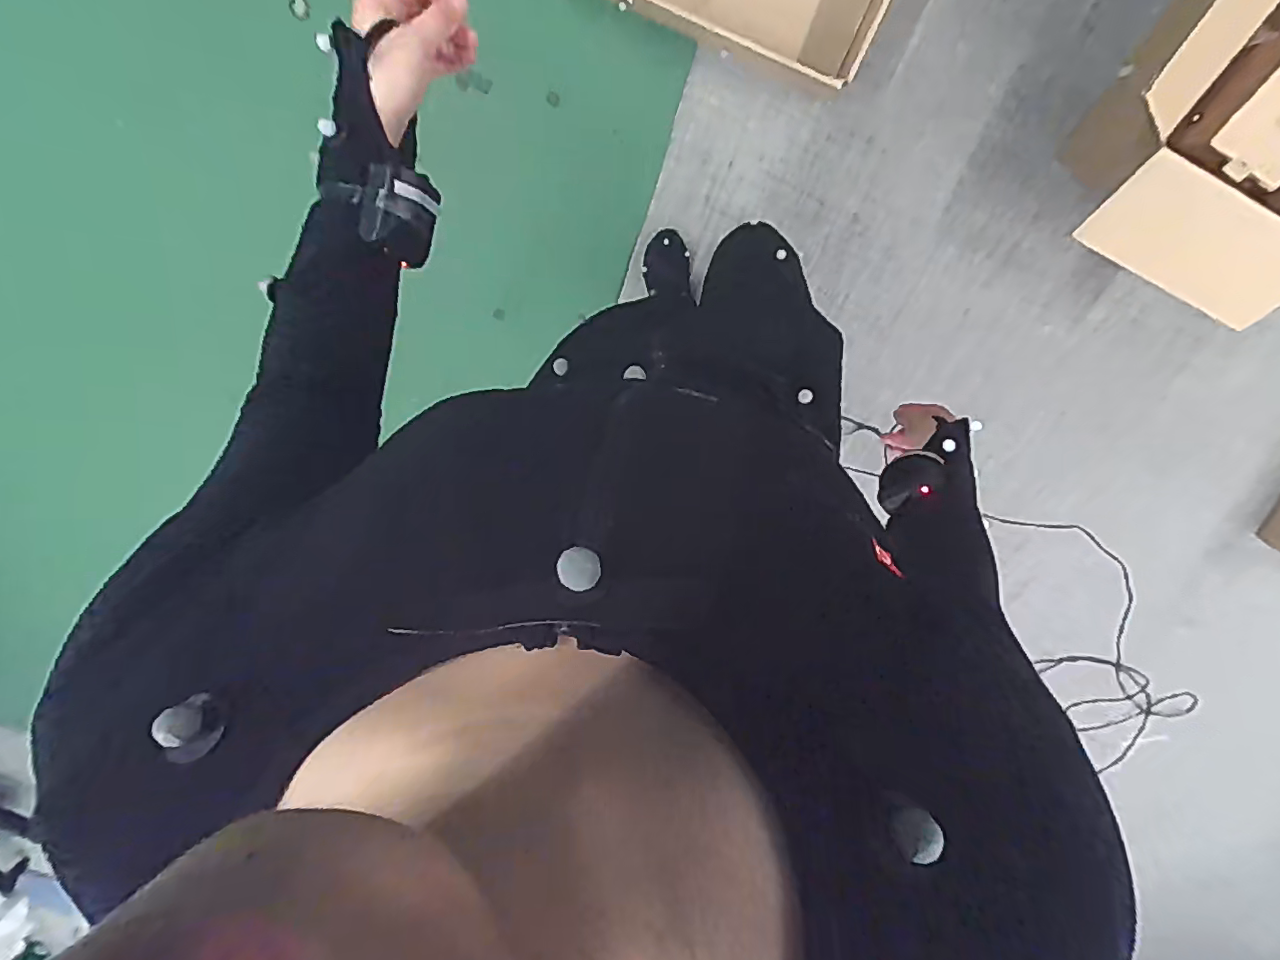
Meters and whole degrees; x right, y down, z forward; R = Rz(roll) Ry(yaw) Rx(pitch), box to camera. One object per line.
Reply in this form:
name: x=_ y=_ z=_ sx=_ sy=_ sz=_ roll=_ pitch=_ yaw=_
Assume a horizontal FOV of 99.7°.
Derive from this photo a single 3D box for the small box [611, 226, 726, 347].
small box: x=0.074 y=-0.441 z=1.237 sx=0.179 sy=0.168 sz=0.176 roll=-50 pitch=134 yaw=2
